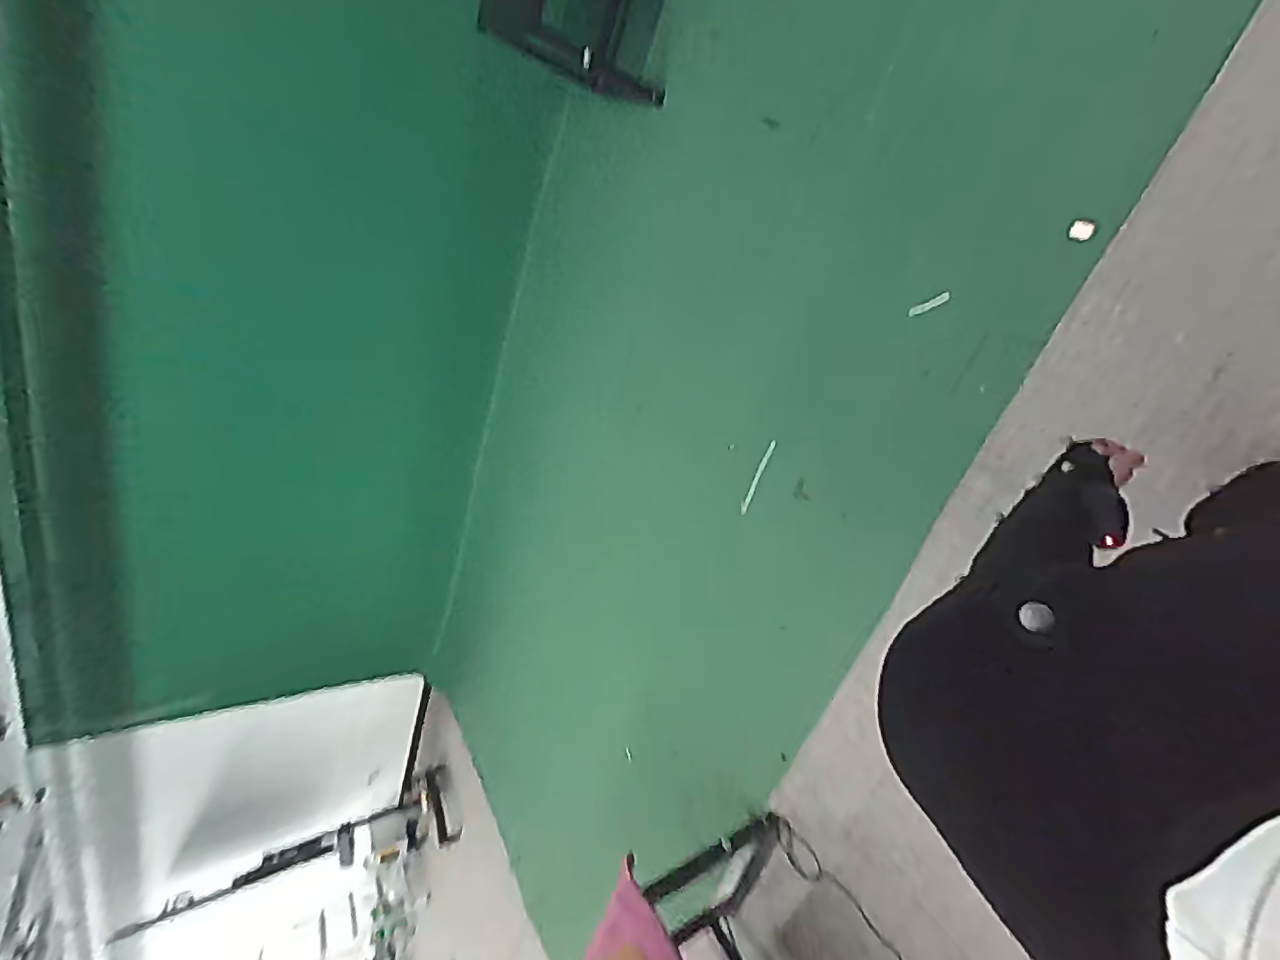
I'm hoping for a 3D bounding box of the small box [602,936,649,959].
[{"bbox_3d":[-0.053,1.392,1.457,0.168,0.176,0.179,45,125,40],"label":"small box"}]
